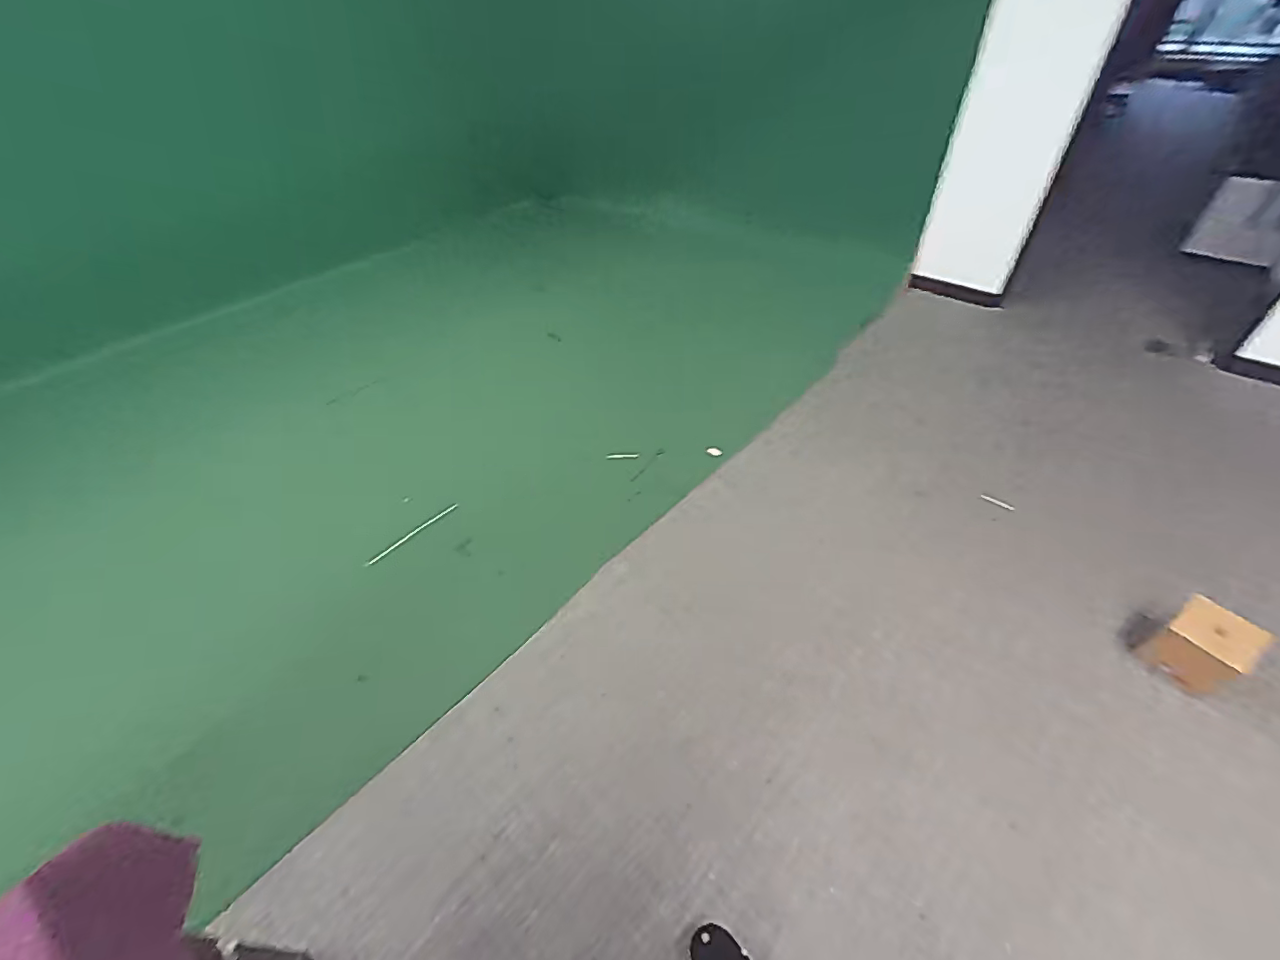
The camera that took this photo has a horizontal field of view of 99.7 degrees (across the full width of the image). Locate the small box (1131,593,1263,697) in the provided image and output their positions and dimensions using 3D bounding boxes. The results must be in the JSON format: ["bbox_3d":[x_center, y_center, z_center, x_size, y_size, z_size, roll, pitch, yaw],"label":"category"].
[{"bbox_3d":[1.492,0.446,1.460,0.179,0.176,0.168,-28,49,-23],"label":"small box"}]
